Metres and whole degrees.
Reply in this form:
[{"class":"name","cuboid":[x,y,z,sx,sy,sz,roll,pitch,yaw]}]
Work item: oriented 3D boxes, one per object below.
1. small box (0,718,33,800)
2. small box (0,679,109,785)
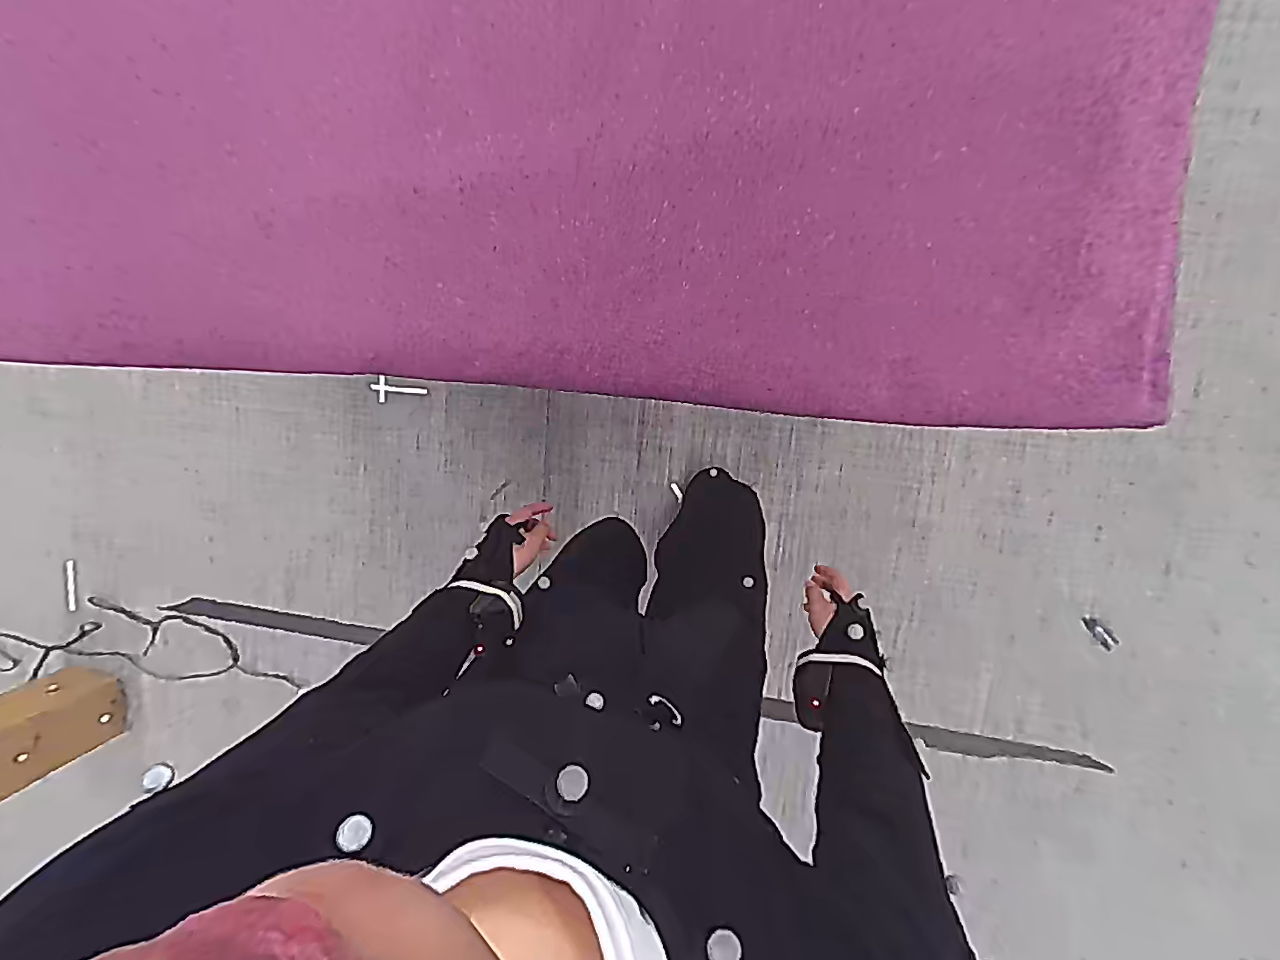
[{"class":"small box","cuboid":[-1.505,0.636,1.181,0.179,0.176,0.168,4,99,6]},{"class":"small box","cuboid":[-1.485,0.616,1.344,0.179,0.176,0.168,6,98,6]}]
